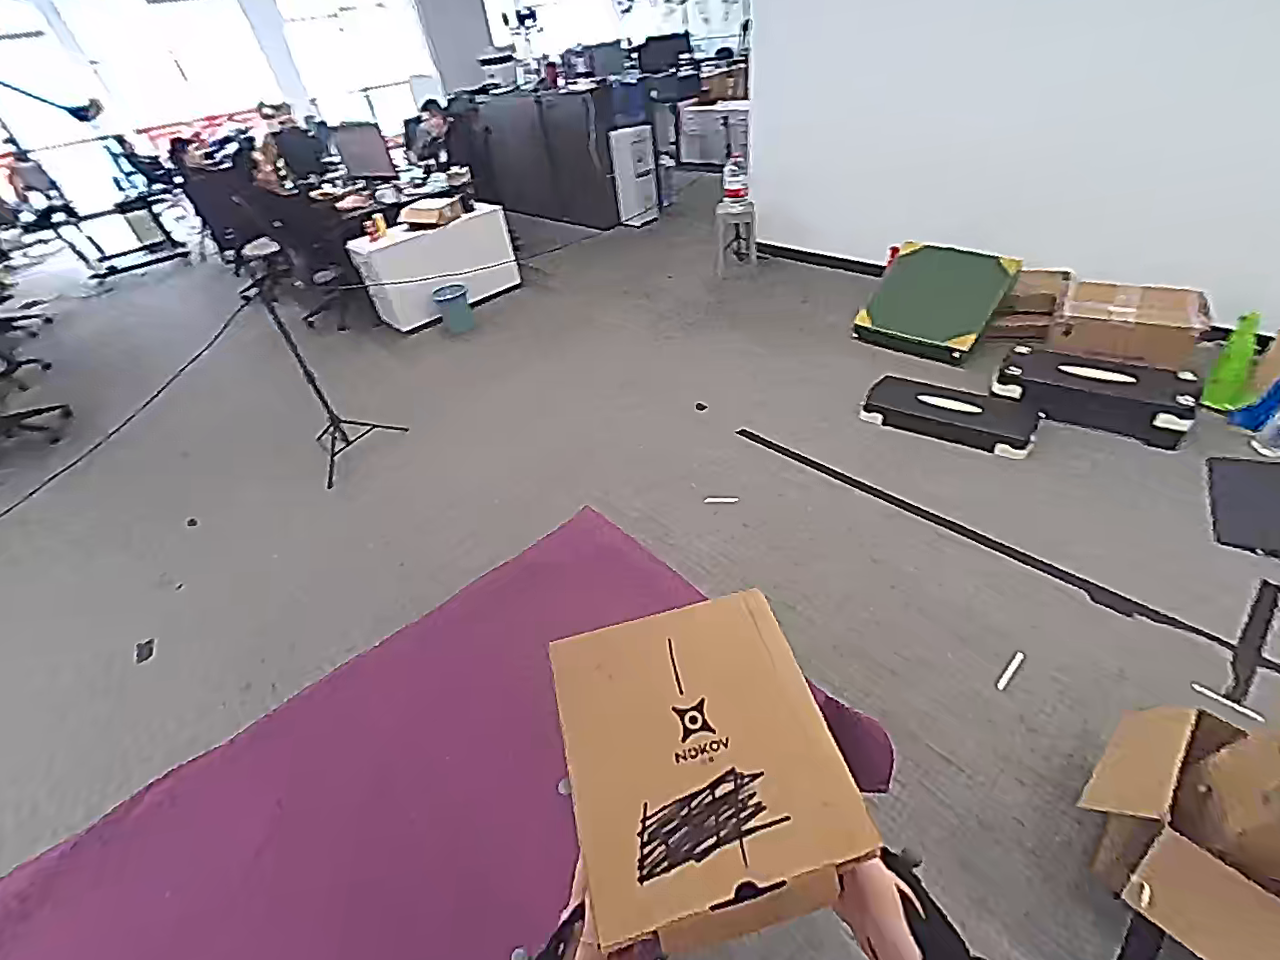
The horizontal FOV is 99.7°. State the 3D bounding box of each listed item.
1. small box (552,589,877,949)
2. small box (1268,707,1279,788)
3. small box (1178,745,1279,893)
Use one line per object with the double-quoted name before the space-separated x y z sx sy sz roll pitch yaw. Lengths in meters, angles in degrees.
"small box" 0.040 0.214 0.405 0.168 0.176 0.179 -13 50 -8
"small box" 1.073 0.400 0.776 0.179 0.176 0.168 27 56 31
"small box" 1.149 0.632 0.999 0.179 0.176 0.168 15 49 22
